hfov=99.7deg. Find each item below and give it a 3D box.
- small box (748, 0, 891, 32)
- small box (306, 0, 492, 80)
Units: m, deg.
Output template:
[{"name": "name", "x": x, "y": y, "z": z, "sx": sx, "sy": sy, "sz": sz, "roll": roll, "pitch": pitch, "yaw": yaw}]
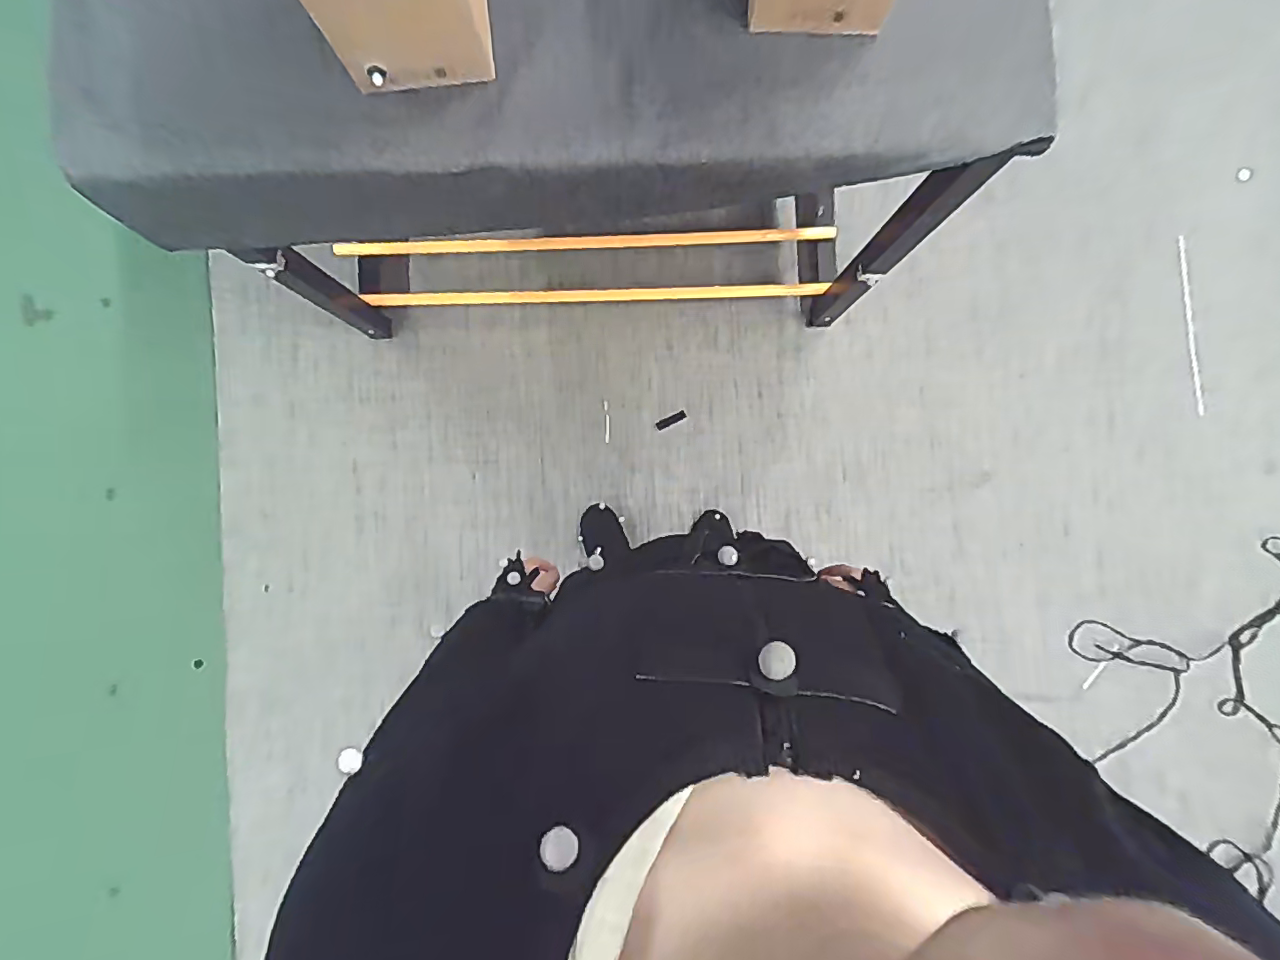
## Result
[{"name": "small box", "x": 0.216, "y": -0.639, "z": 0.588, "sx": 0.168, "sy": 0.176, "sz": 0.179, "roll": 2, "pitch": 87, "yaw": -1}, {"name": "small box", "x": -0.266, "y": -0.571, "z": 0.583, "sx": 0.168, "sy": 0.176, "sz": 0.179, "roll": -6, "pitch": 87, "yaw": -1}]
